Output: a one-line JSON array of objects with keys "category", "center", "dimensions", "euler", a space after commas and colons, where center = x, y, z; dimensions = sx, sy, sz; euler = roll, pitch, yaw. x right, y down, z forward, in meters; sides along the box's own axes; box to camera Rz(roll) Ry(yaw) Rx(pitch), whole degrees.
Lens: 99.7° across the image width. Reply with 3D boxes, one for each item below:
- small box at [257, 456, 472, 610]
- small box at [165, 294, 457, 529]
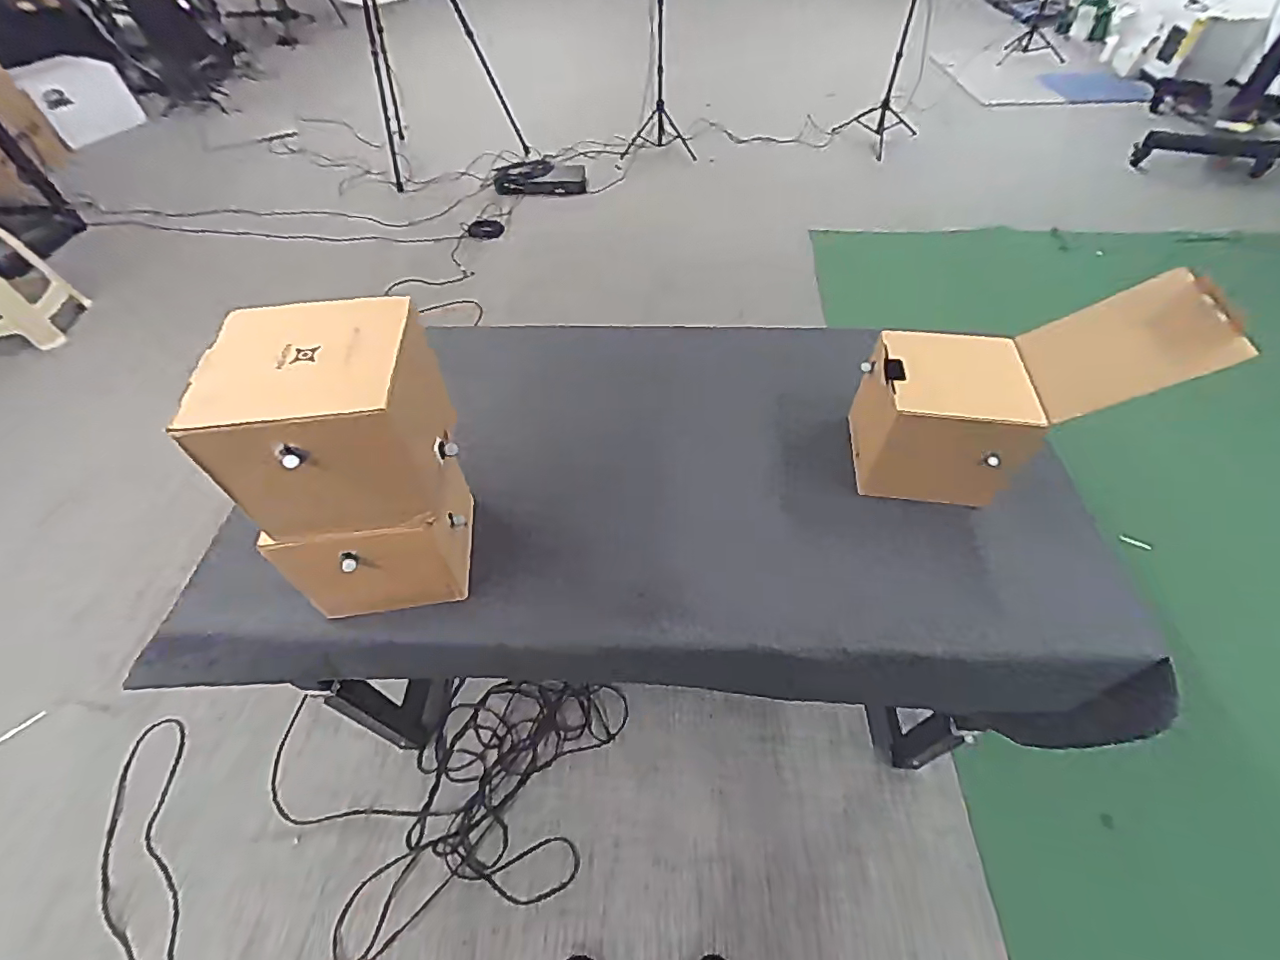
[{"category": "small box", "center": [-0.315, 0.044, 0.668], "dimensions": [0.179, 0.176, 0.168], "euler": [-7, 51, -4]}, {"category": "small box", "center": [-0.302, -0.064, 0.546], "dimensions": [0.179, 0.176, 0.168], "euler": [-6, 52, -5]}]
